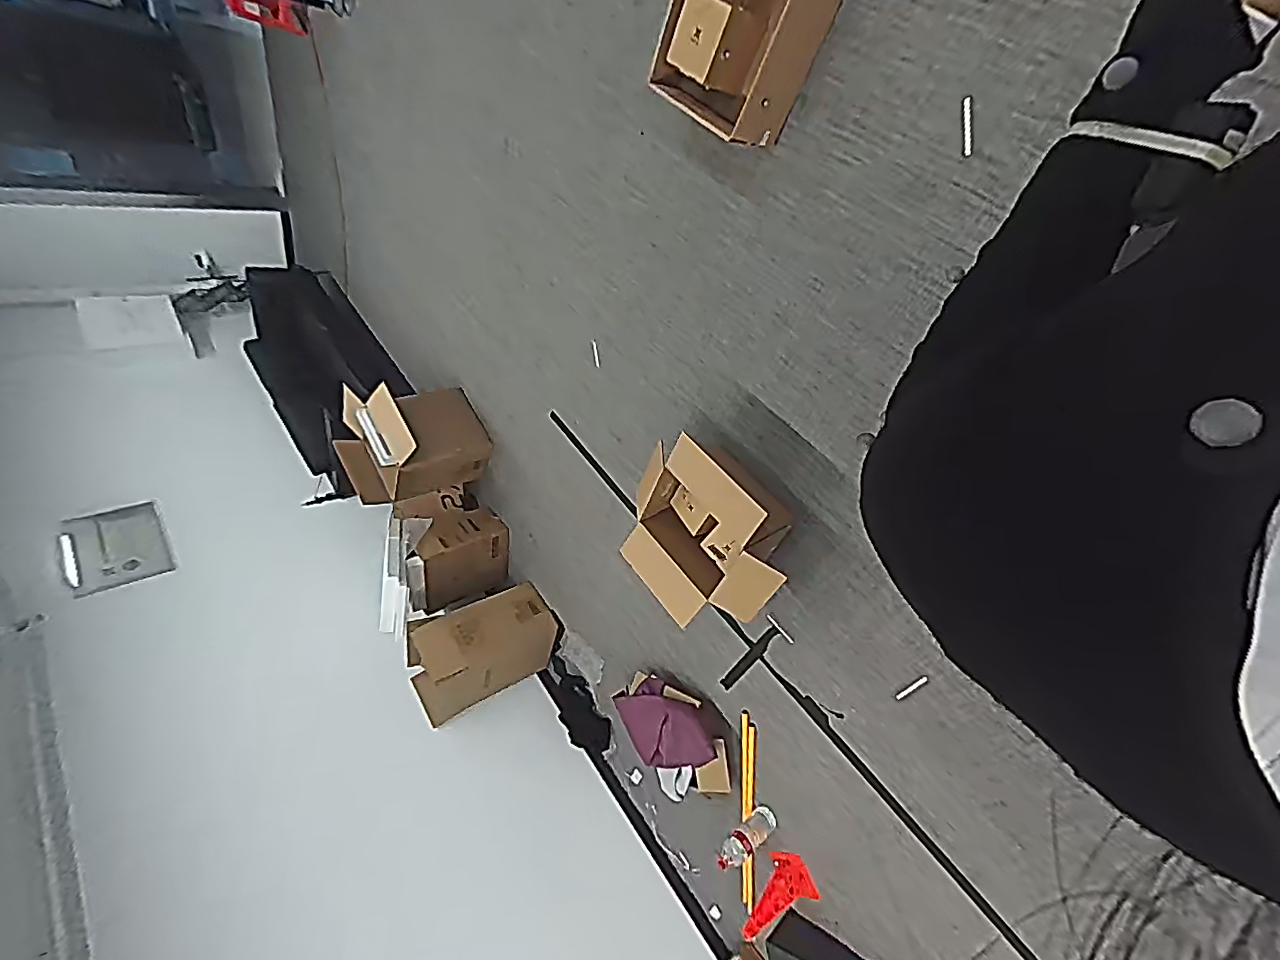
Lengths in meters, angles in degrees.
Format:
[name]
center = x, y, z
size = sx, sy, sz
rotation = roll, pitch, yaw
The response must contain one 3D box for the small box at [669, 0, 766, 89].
[small box]
center = 0.216, -1.219, 1.490
size = 0.168, 0.176, 0.179
rotation = 50, 136, 21
